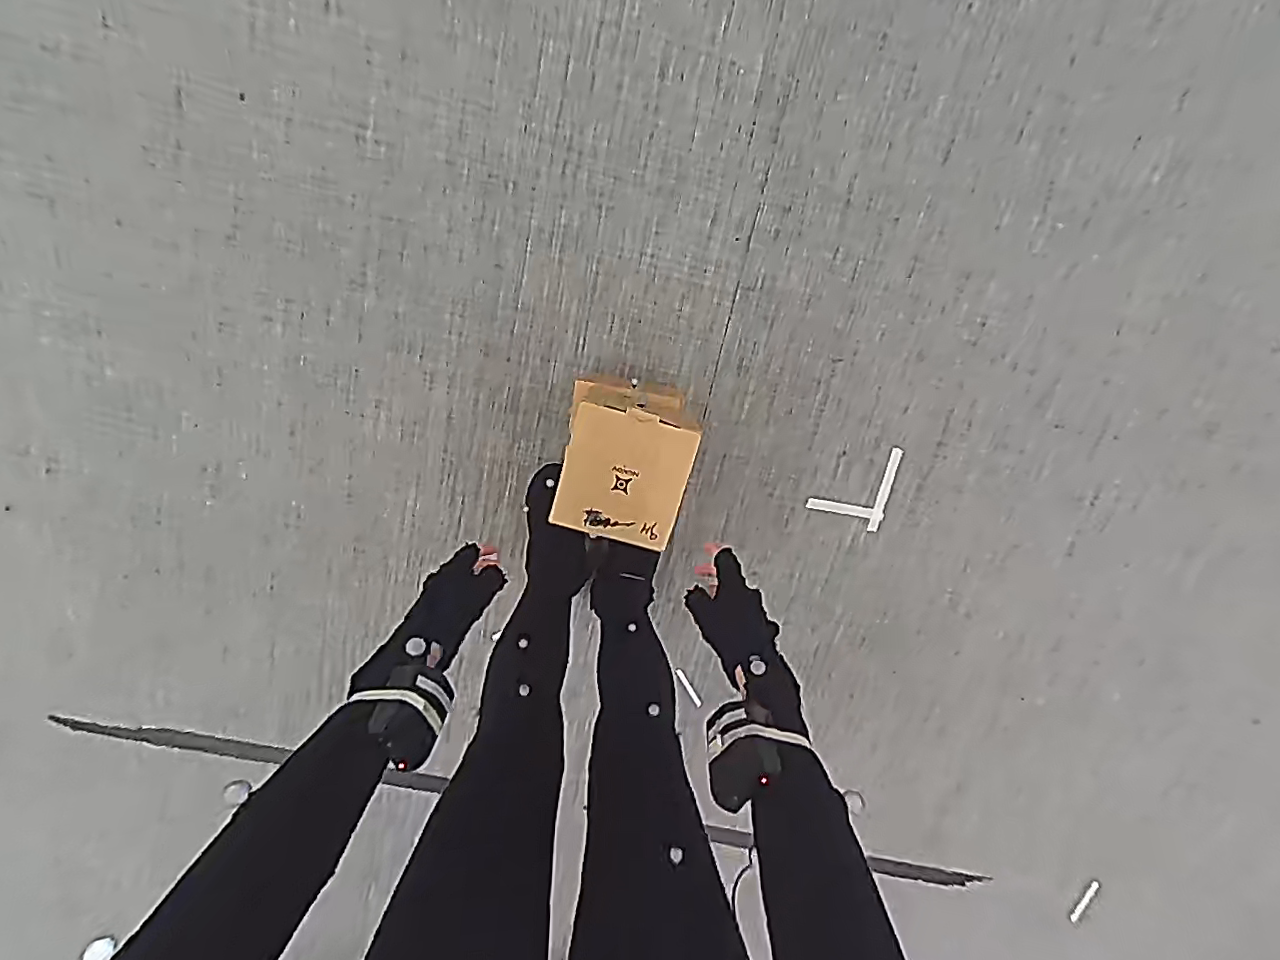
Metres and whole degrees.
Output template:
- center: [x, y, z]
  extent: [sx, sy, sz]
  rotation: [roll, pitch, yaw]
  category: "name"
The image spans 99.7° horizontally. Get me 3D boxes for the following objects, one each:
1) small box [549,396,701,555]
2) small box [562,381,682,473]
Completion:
- center: [-0.025, -0.017, 0.795]
  extent: [0.168, 0.176, 0.179]
  rotation: [16, 103, -5]
  category: "small box"
- center: [-0.033, -0.076, 0.948]
  extent: [0.179, 0.176, 0.168]
  rotation: [9, 104, -3]
  category: "small box"
